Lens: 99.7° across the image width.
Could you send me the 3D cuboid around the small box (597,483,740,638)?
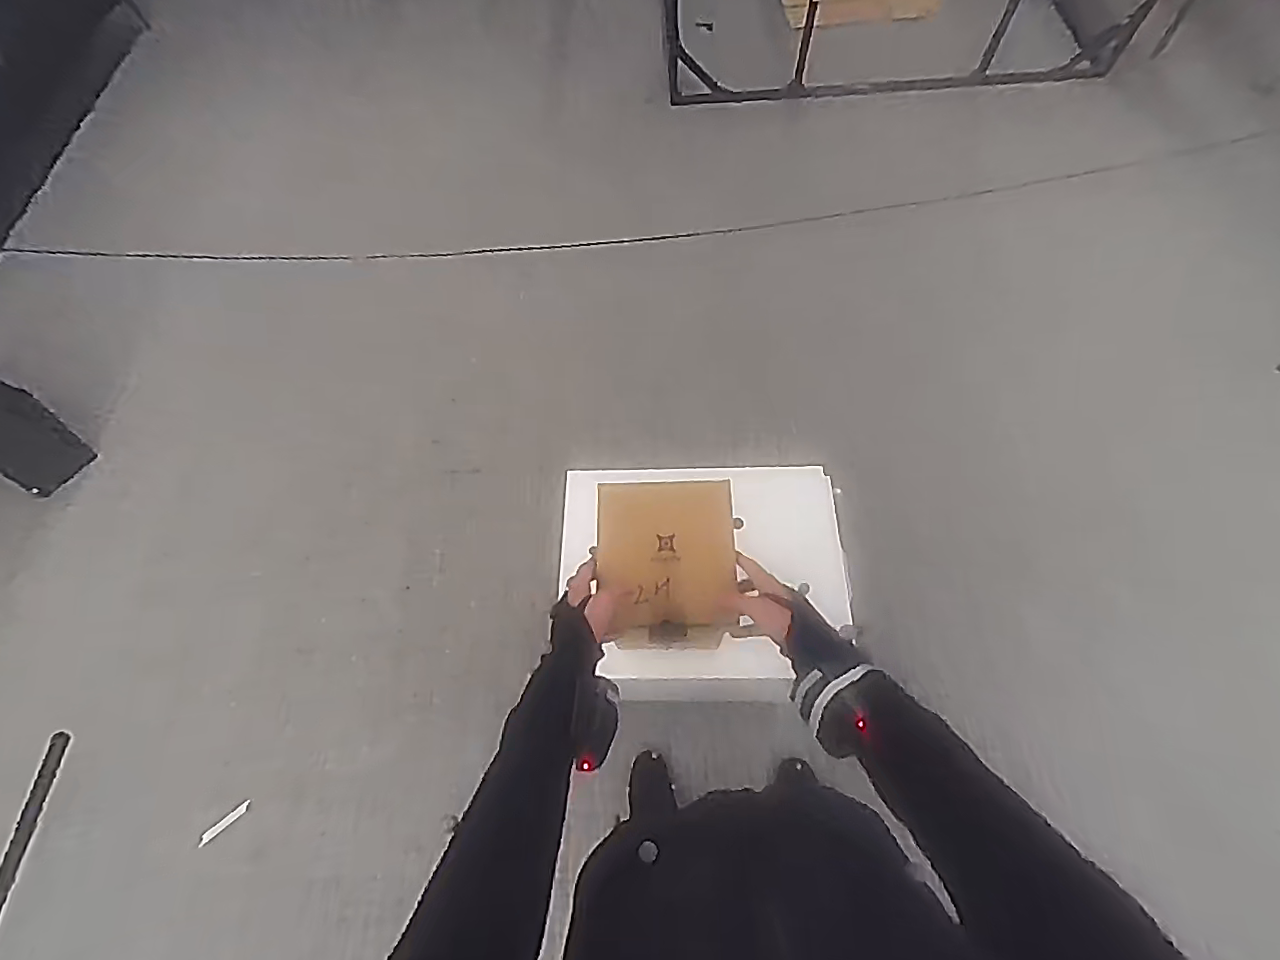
[{"bbox_3d":[0.037,0.113,0.714,0.168,0.176,0.179,-2,72,3],"label":"small box"}]
